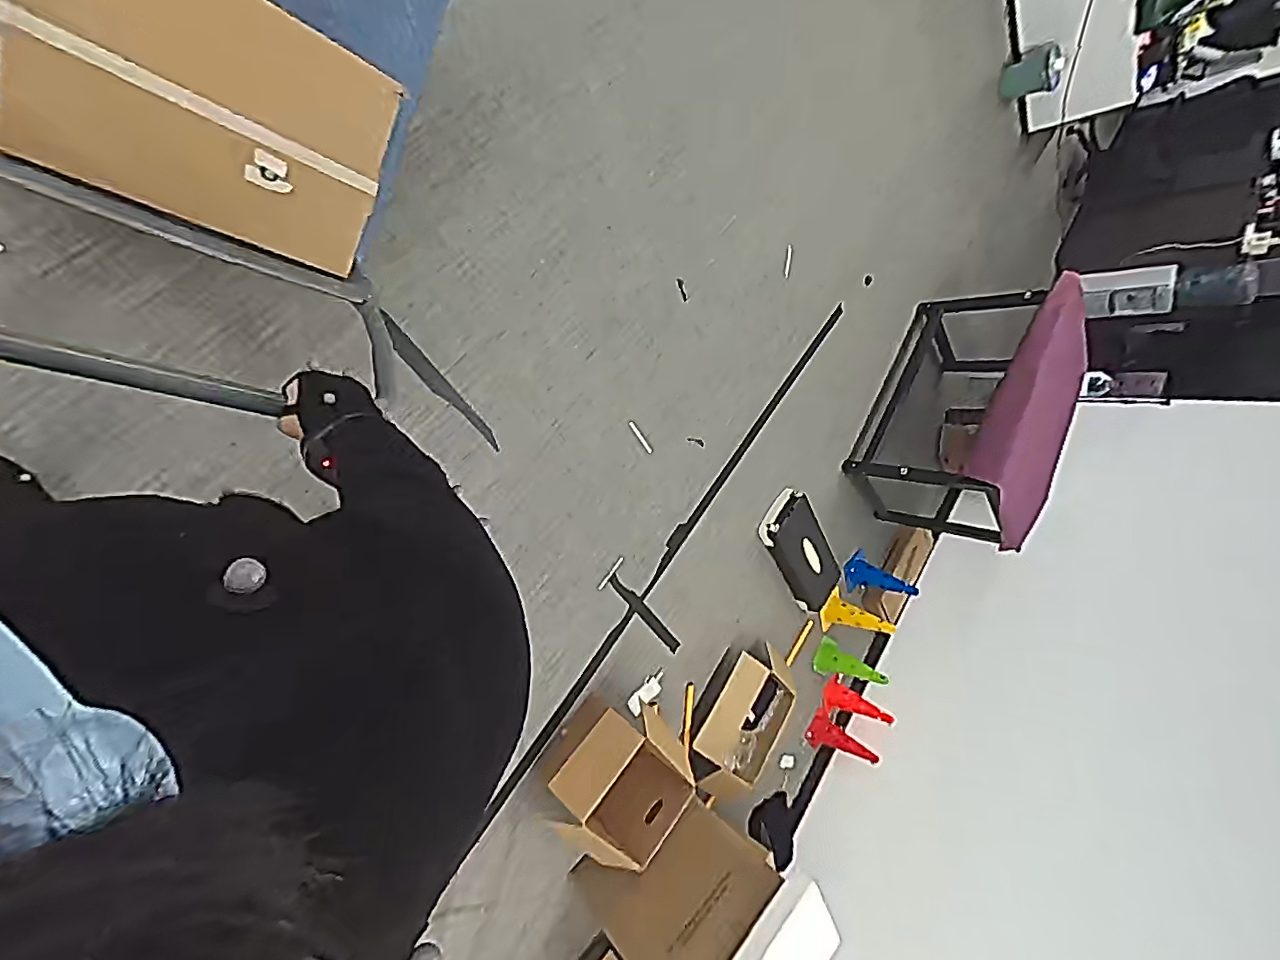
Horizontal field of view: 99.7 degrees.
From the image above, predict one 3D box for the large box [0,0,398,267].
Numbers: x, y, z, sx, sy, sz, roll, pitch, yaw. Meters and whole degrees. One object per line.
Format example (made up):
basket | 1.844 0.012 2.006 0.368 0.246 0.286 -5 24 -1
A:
large box | -0.664 -0.597 0.851 0.408 0.320 0.320 12 115 -42
